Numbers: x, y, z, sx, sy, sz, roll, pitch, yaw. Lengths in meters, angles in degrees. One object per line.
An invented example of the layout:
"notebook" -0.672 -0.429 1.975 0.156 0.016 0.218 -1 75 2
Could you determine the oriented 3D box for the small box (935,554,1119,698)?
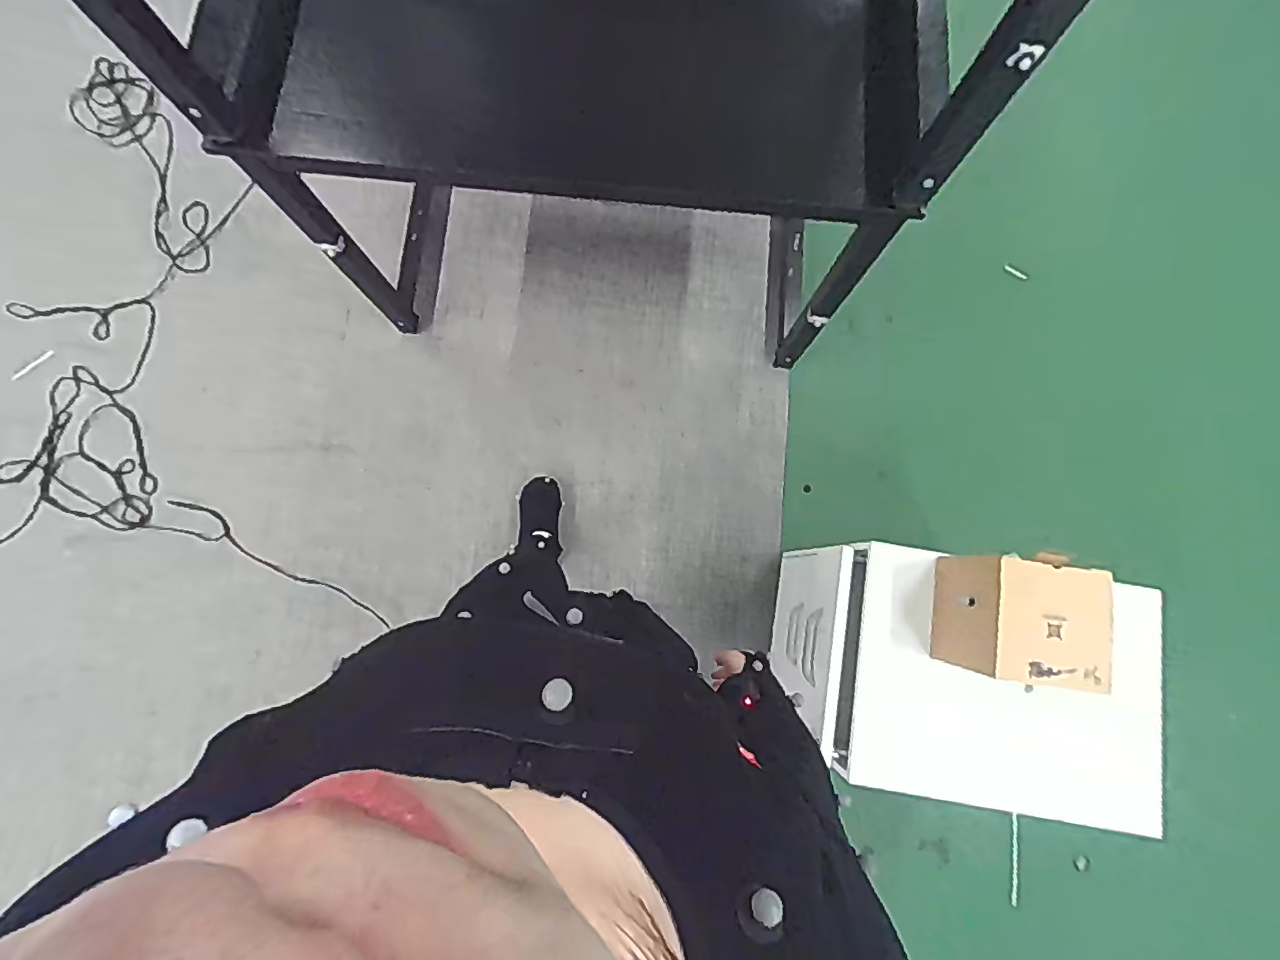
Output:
"small box" 0.580 0.214 0.829 0.168 0.176 0.179 8 81 1
